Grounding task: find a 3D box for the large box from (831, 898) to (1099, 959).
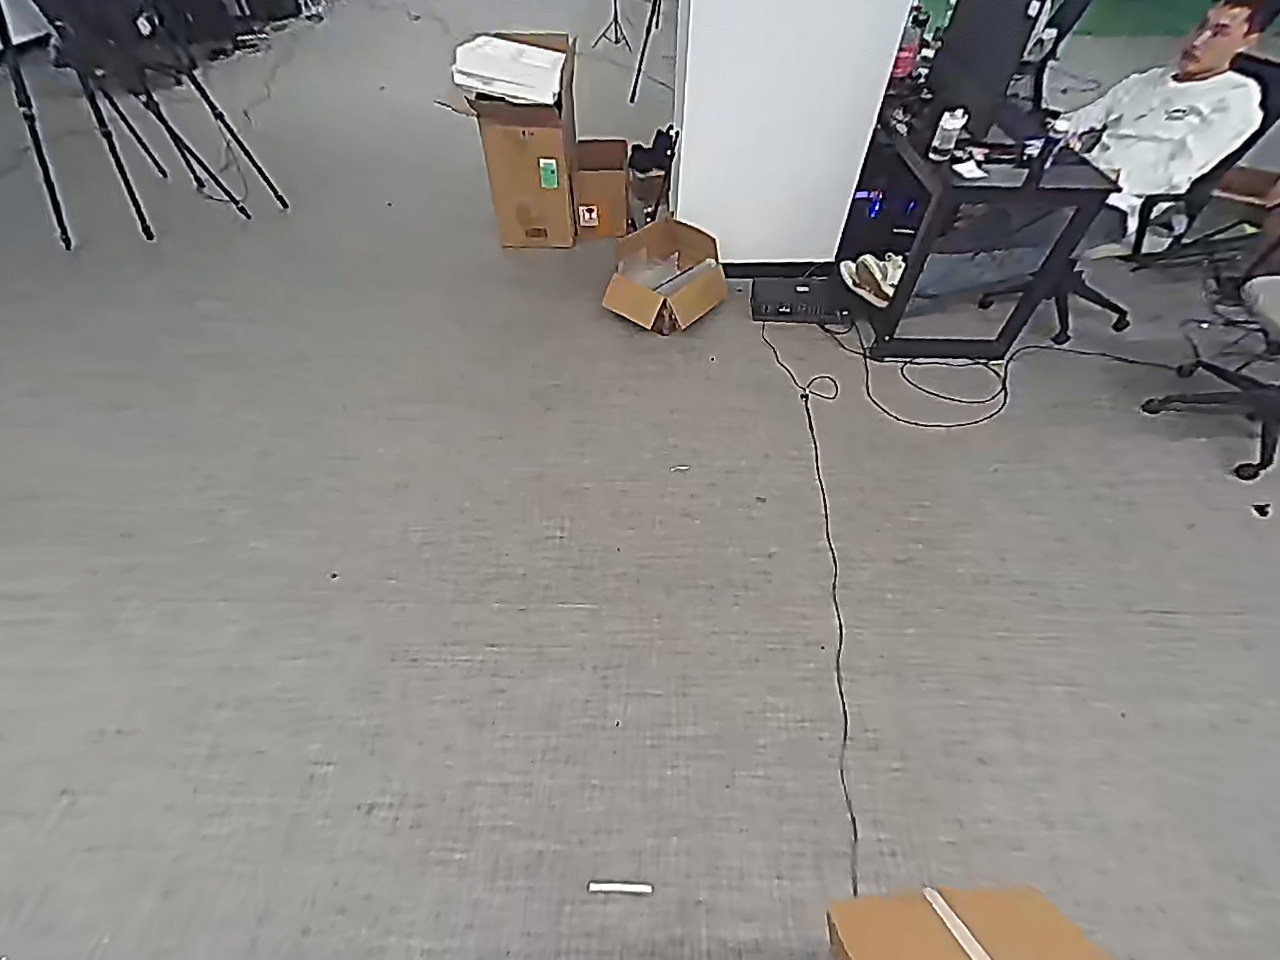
[{"bbox_3d":[0.442,0.761,0.596,0.320,0.408,0.320,-6,84,1],"label":"large box"}]
